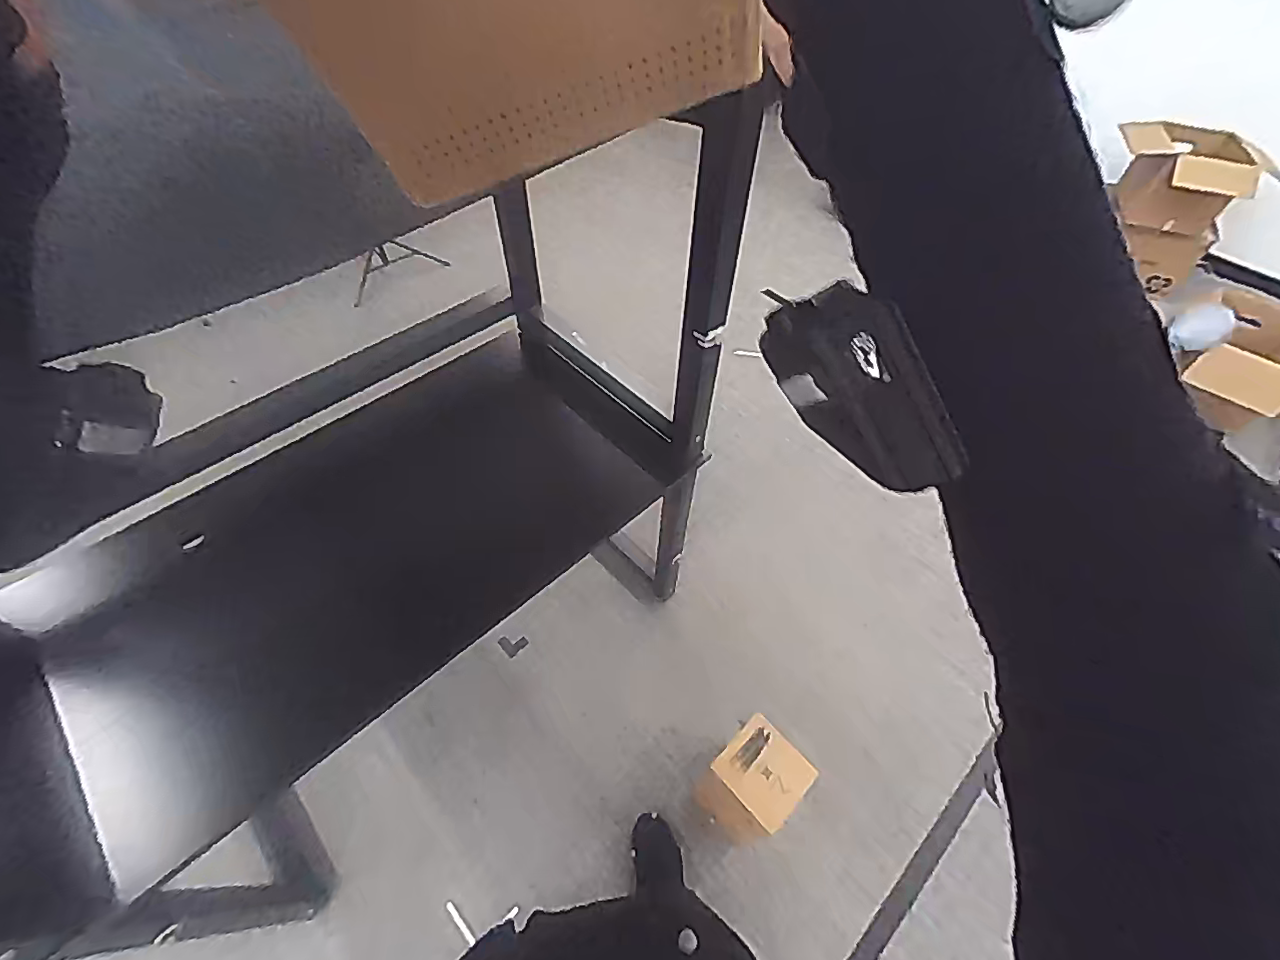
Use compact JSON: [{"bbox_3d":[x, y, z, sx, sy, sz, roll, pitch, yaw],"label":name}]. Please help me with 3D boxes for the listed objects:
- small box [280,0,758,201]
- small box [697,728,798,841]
[{"bbox_3d":[-0.055,-0.253,0.209,0.179,0.176,0.168,-17,71,7],"label":"small box"},{"bbox_3d":[0.256,0.756,1.341,0.168,0.176,0.179,39,63,24],"label":"small box"}]
